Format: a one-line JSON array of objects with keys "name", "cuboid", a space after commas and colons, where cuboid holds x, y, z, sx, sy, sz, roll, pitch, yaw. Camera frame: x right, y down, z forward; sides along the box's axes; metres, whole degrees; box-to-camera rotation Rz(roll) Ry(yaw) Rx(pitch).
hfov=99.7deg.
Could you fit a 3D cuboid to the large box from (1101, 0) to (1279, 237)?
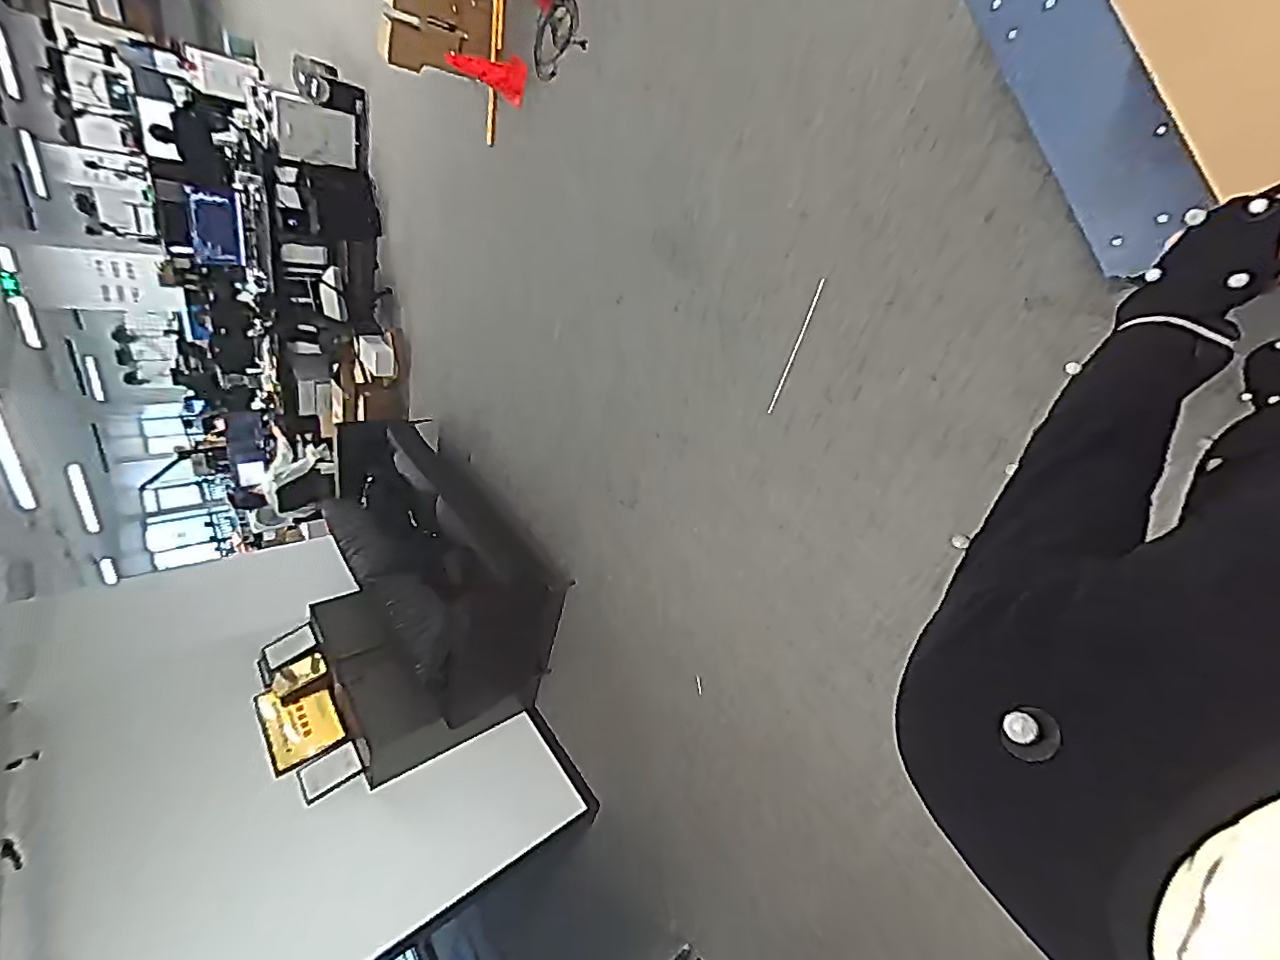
[{"name": "large box", "cuboid": [0.984, -0.643, 0.798, 0.320, 0.320, 0.408, -28, 77, 48]}]
